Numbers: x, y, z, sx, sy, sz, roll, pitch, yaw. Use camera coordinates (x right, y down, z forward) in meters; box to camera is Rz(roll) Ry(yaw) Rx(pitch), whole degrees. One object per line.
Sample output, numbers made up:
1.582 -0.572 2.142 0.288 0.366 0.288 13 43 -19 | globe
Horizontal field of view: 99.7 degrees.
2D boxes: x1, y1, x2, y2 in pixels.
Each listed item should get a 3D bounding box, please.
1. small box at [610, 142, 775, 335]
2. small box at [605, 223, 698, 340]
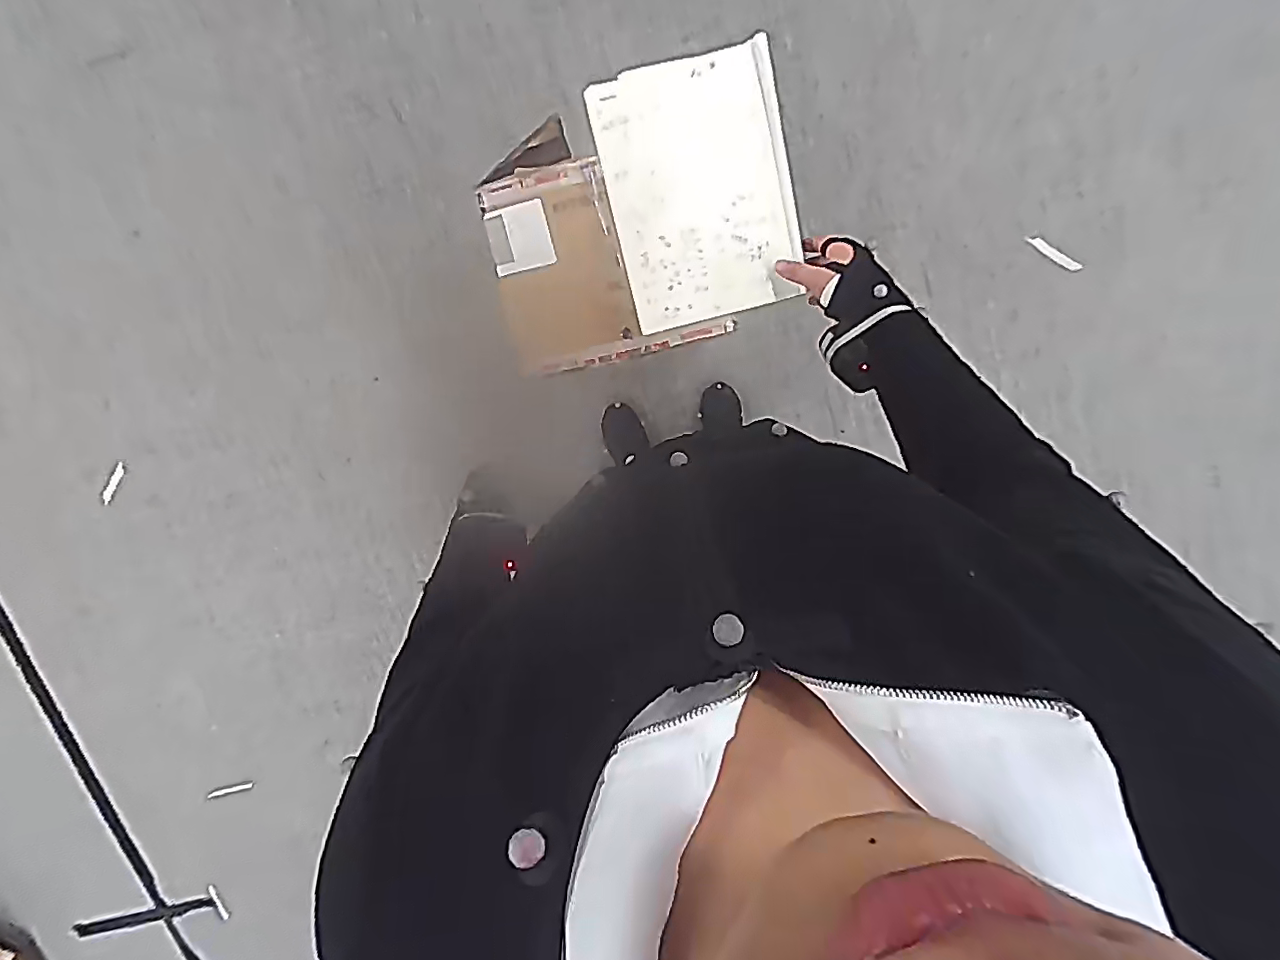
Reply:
0.059 -0.296 0.702 0.168 0.176 0.179 -14 103 1 | small box
0.051 -0.329 0.863 0.179 0.176 0.168 -17 102 3 | small box
